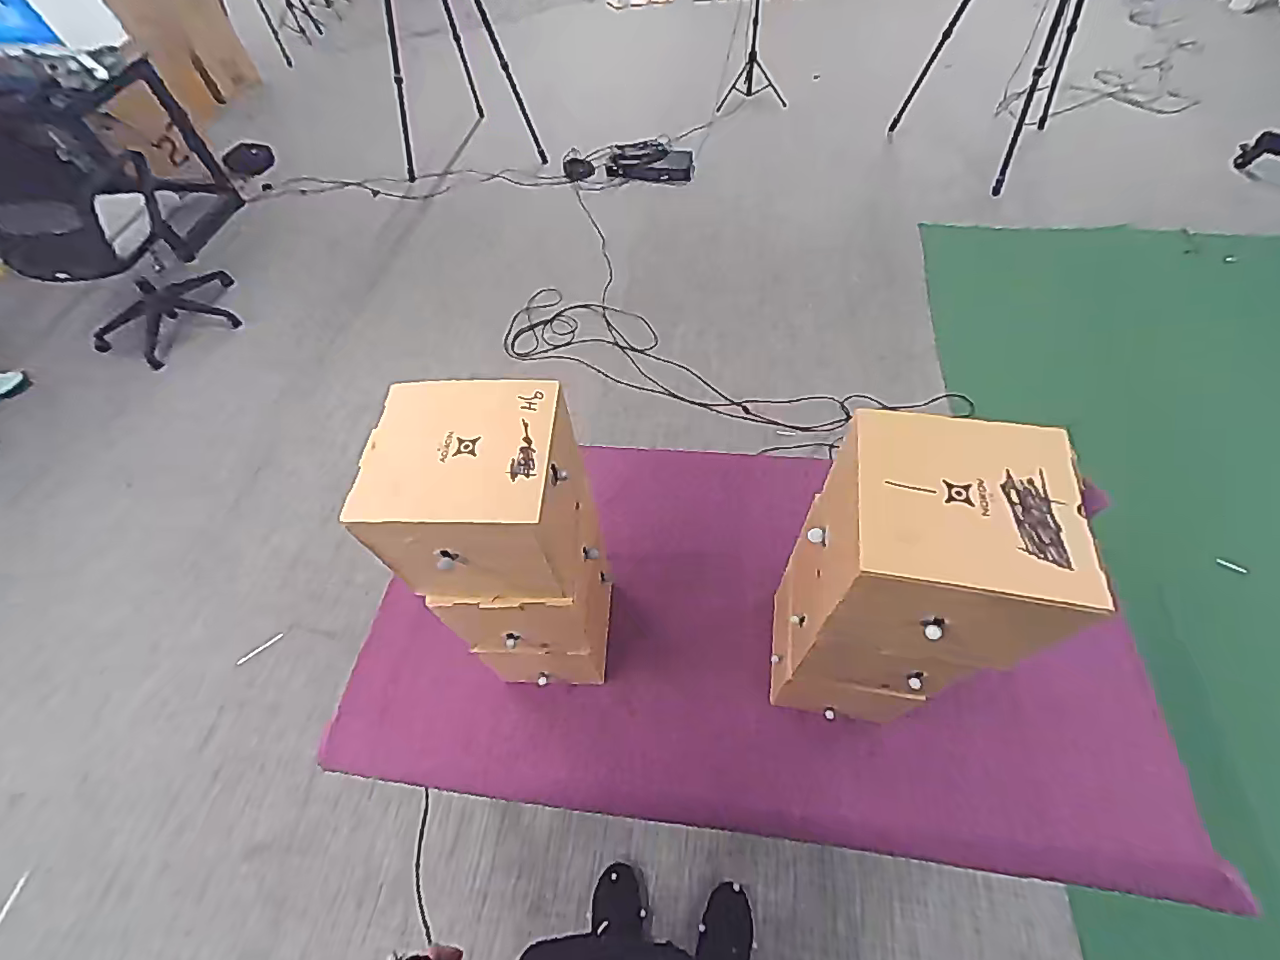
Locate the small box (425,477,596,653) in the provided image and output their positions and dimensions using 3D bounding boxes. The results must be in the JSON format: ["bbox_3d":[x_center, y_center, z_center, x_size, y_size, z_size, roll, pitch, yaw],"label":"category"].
[{"bbox_3d":[-0.150,0.112,0.702,0.168,0.176,0.179,-1,56,3],"label":"small box"}]

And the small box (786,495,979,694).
[{"bbox_3d":[0.271,0.141,0.644,0.168,0.176,0.179,6,57,9],"label":"small box"}]

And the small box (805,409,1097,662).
[{"bbox_3d":[0.262,0.058,0.504,0.179,0.176,0.168,7,57,11],"label":"small box"}]

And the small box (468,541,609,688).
[{"bbox_3d":[-0.142,0.207,0.834,0.168,0.176,0.179,0,56,5],"label":"small box"}]

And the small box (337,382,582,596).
[{"bbox_3d":[-0.168,0.016,0.570,0.179,0.176,0.168,-1,56,5],"label":"small box"}]
